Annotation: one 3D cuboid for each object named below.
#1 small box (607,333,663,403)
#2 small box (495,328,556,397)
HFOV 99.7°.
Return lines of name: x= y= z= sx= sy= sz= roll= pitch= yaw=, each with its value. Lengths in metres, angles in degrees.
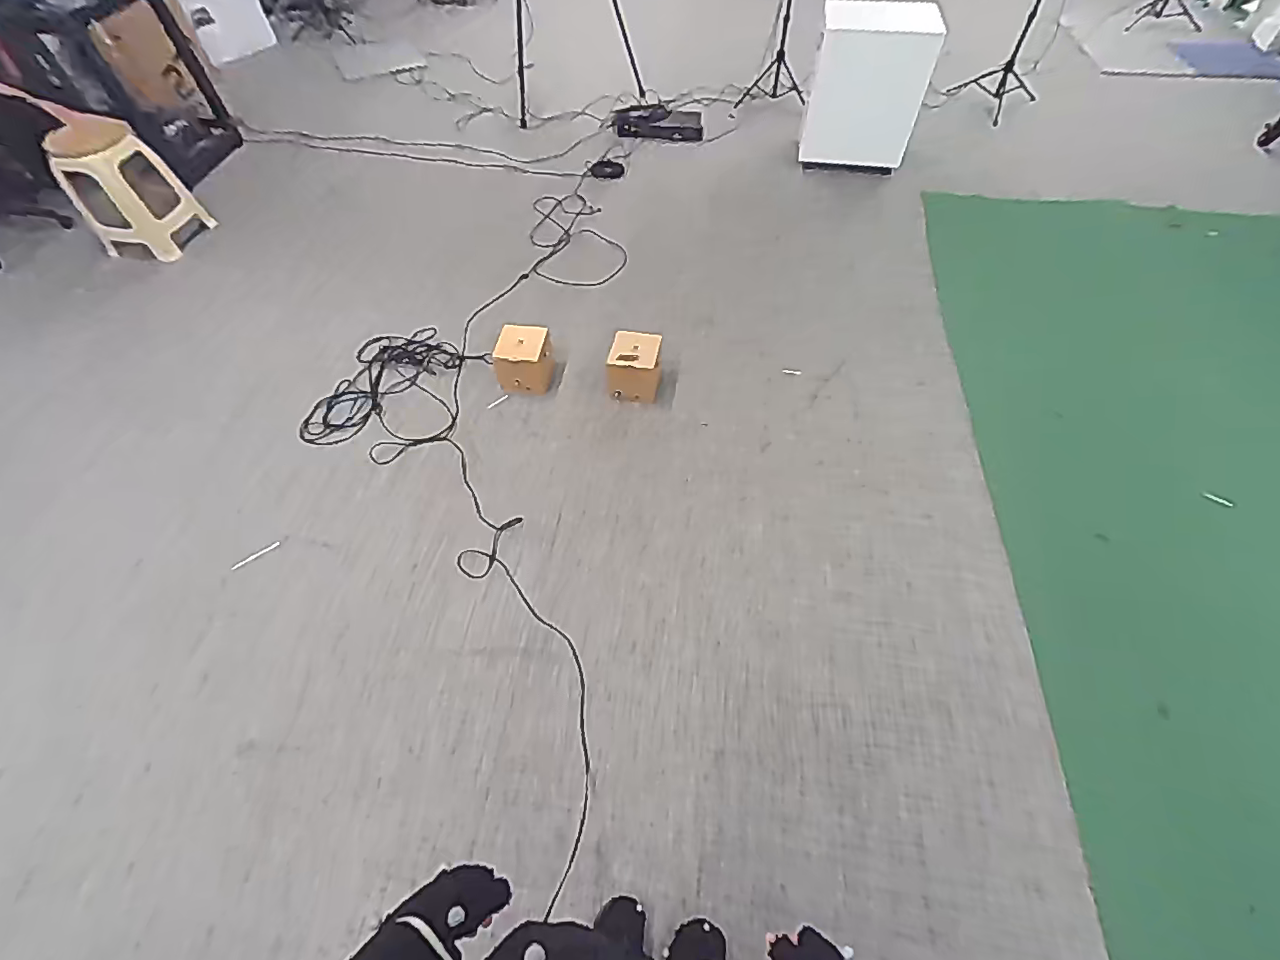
small box: x=-0.011 y=-0.398 z=1.941 sx=0.168 sy=0.176 sz=0.179 roll=9 pitch=56 yaw=8
small box: x=-0.412 y=-0.430 z=1.976 sx=0.168 sy=0.176 sz=0.179 roll=5 pitch=56 yaw=5
